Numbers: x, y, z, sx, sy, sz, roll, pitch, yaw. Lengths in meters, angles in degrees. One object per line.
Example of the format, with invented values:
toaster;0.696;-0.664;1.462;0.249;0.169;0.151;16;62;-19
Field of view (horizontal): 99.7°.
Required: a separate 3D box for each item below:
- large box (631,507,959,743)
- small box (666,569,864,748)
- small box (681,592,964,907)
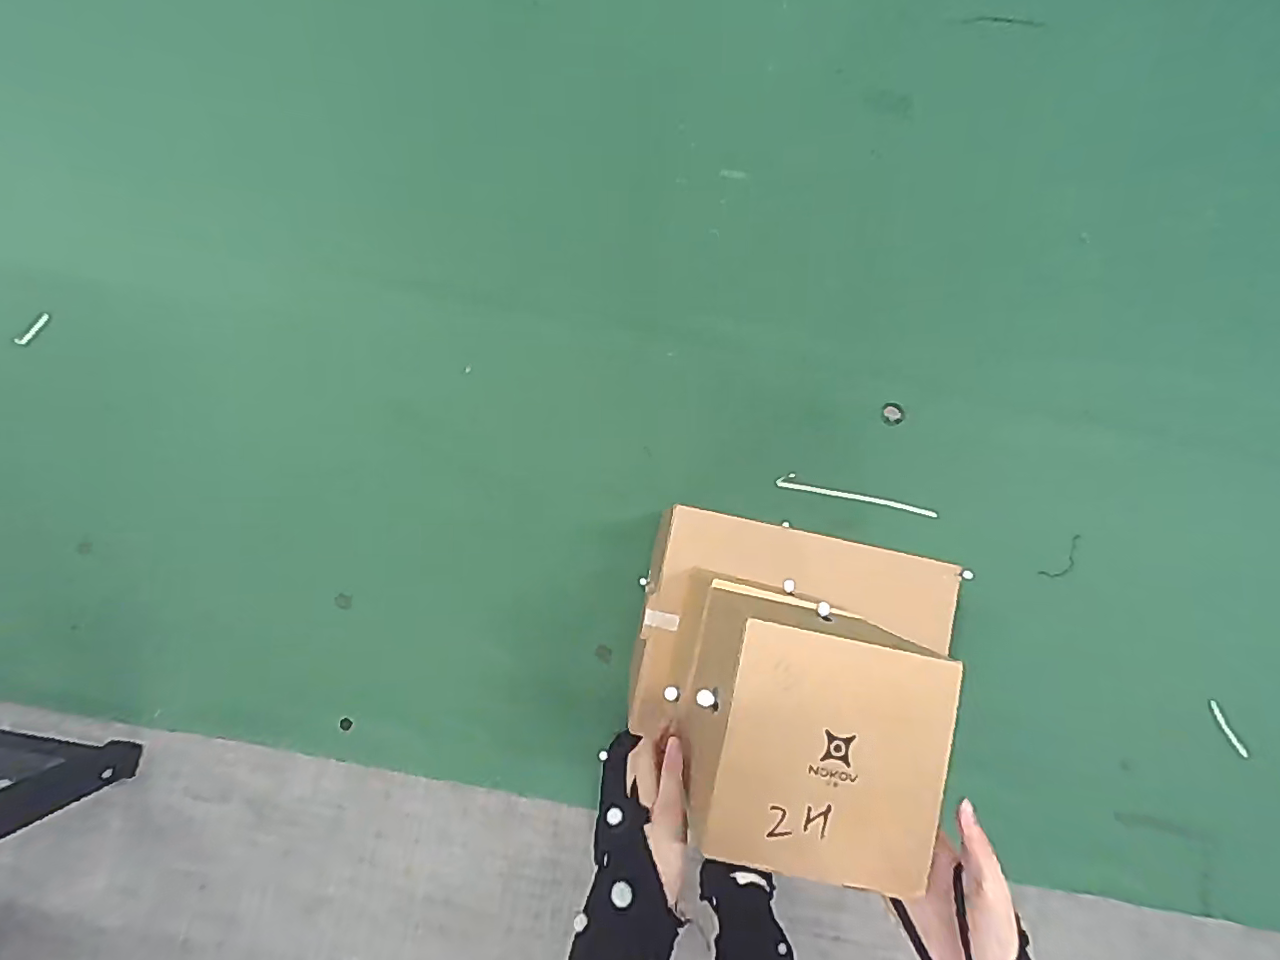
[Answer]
large box;0.207;0.234;0.868;0.408;0.320;0.320;12;86;0
small box;0.130;0.209;0.626;0.168;0.176;0.179;14;86;0
small box;0.135;0.202;0.461;0.168;0.176;0.179;13;85;0
